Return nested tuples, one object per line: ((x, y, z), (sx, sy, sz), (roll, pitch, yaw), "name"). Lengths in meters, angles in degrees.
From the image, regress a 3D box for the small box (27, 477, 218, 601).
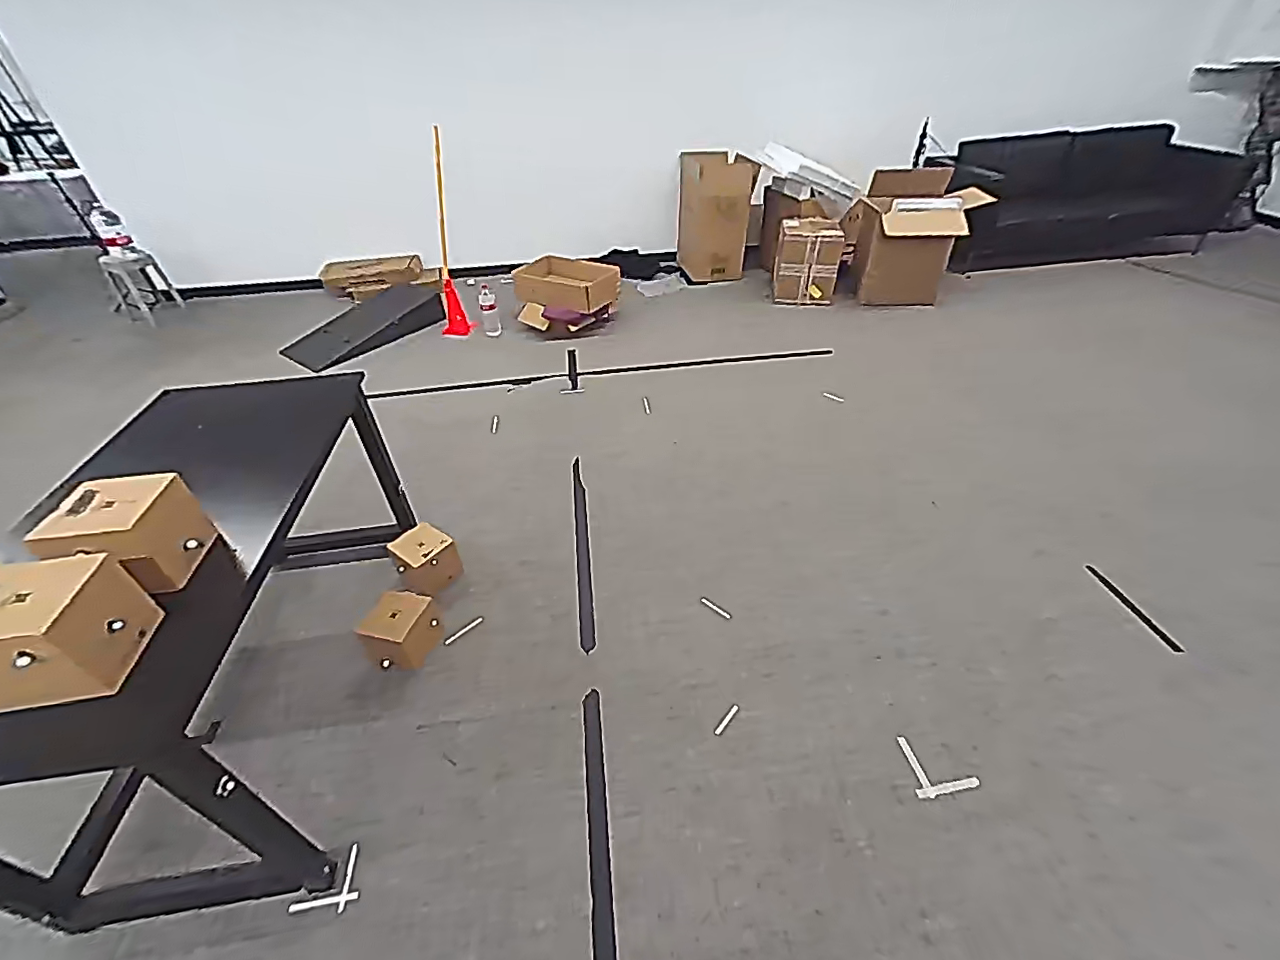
((-0.986, 0.117, 1.052), (0.179, 0.176, 0.168), (-6, 39, -5), "small box")

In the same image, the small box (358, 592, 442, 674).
((-0.761, 0.490, 1.740), (0.168, 0.176, 0.179), (6, 41, 12), "small box")

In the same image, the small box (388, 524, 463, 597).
((-0.779, 0.297, 1.973), (0.179, 0.176, 0.168), (23, 46, 28), "small box")
